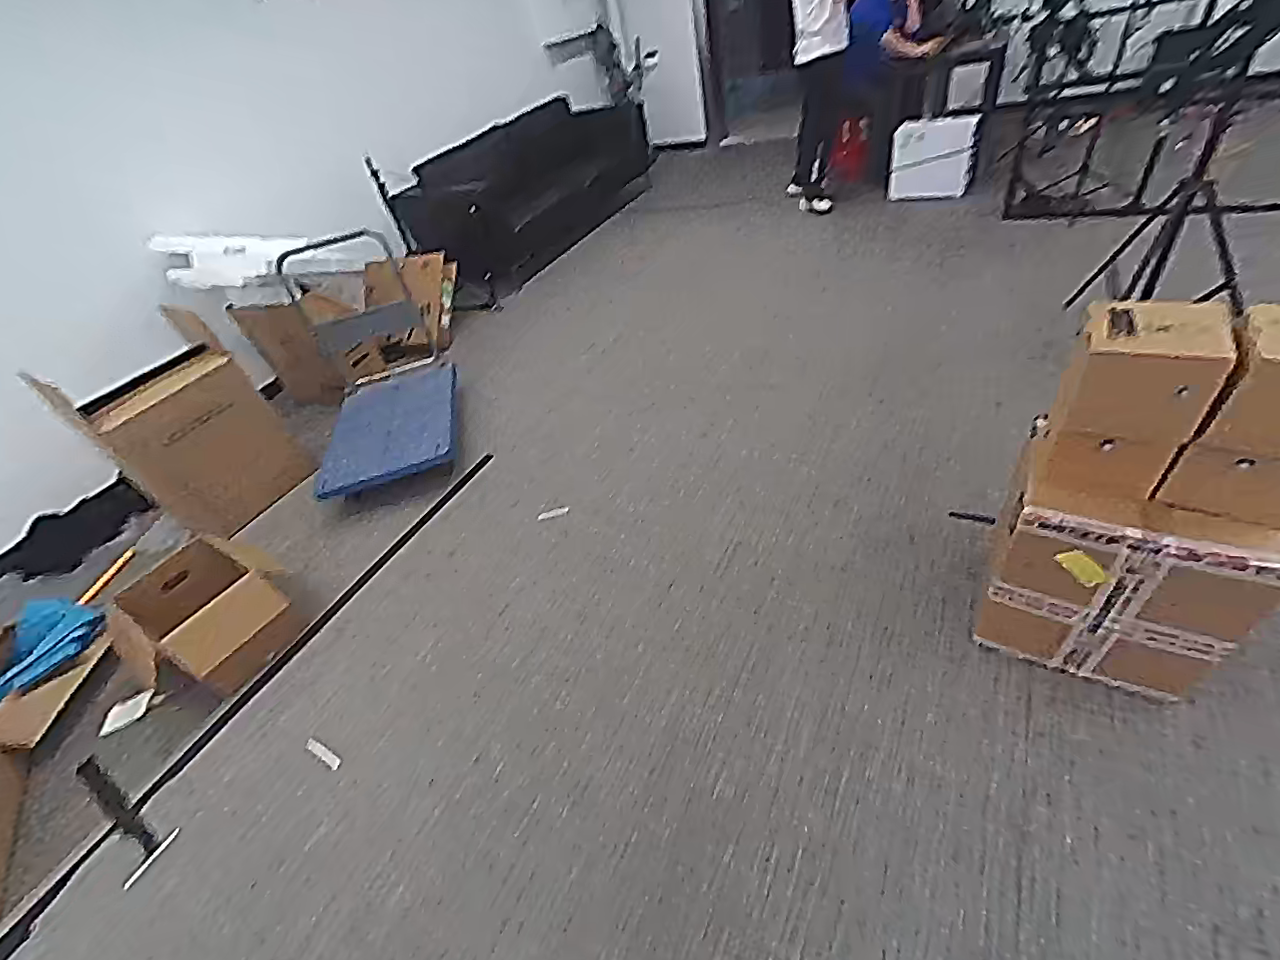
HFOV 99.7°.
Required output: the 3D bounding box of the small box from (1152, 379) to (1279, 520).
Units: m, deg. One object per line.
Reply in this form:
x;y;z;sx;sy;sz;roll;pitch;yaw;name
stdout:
1.064;-0.054;0.967;0.179;0.176;0.168;19;53;31;small box
